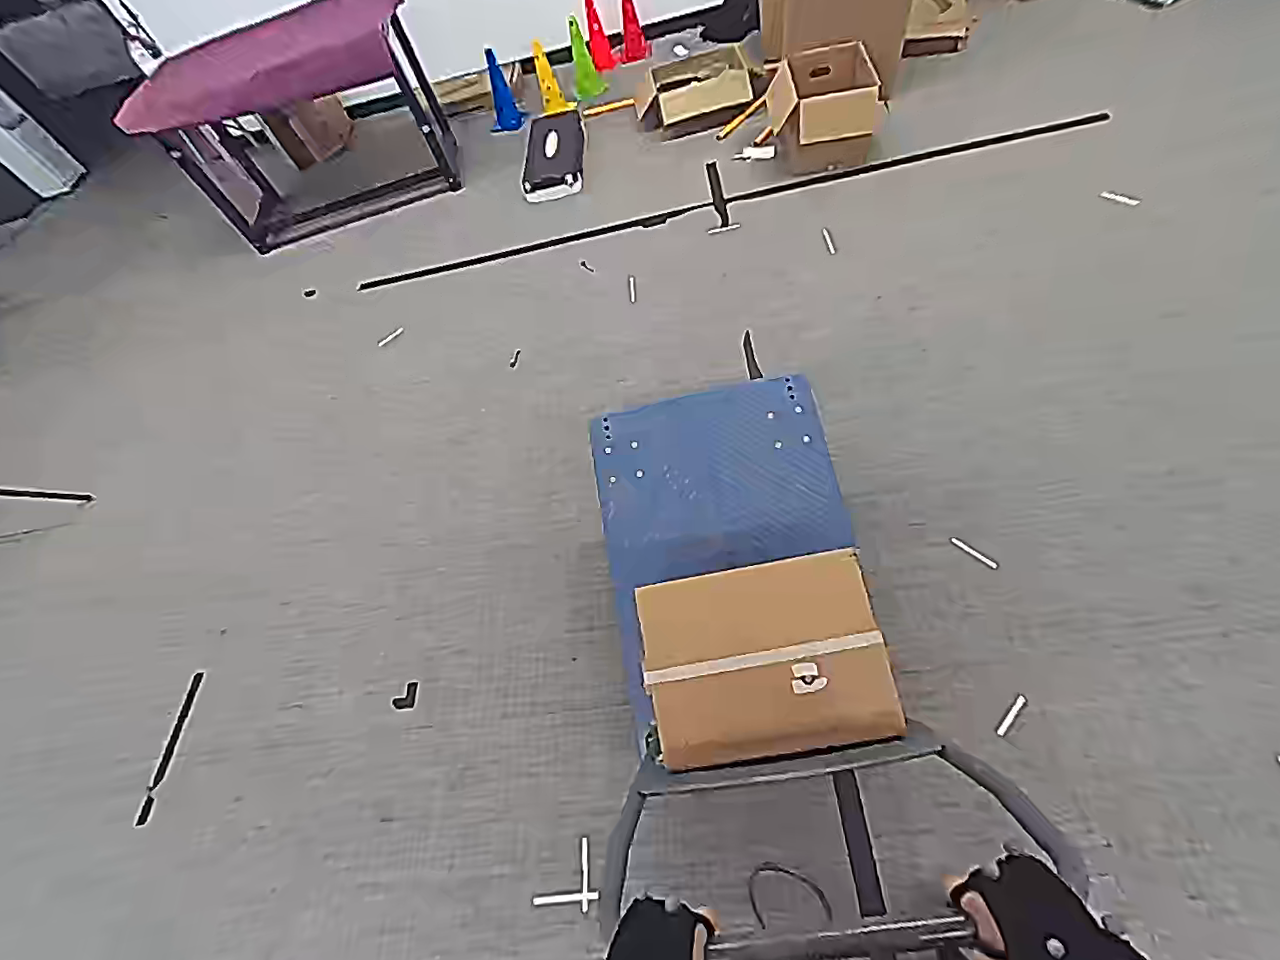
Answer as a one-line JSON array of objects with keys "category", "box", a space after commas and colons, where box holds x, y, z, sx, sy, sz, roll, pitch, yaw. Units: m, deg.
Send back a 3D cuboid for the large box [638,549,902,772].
[{"category": "large box", "box": [0.234, 0.352, 1.094, 0.408, 0.320, 0.320, -13, 74, 4]}]
